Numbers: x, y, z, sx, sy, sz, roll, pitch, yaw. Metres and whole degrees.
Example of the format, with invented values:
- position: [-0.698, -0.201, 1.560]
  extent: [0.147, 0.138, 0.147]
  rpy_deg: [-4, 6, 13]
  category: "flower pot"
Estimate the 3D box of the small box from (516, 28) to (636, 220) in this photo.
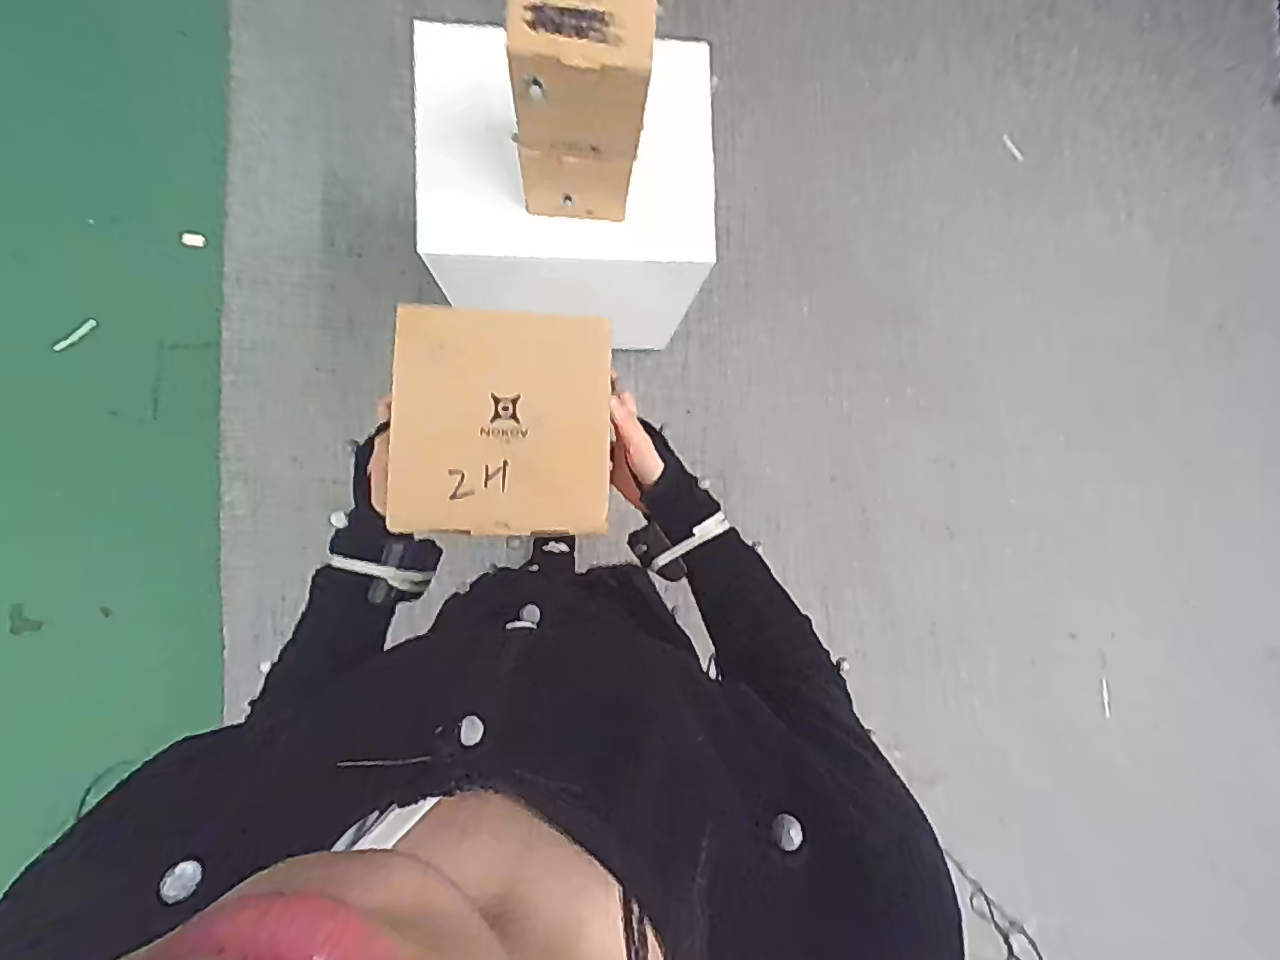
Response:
- position: [-0.098, -0.535, 0.835]
  extent: [0.168, 0.176, 0.179]
  rpy_deg: [1, 87, -7]
  category: "small box"

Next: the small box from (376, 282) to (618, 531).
- position: [-0.111, -0.047, 0.475]
  extent: [0.168, 0.176, 0.179]
  rpy_deg: [2, 84, -7]
  category: "small box"
